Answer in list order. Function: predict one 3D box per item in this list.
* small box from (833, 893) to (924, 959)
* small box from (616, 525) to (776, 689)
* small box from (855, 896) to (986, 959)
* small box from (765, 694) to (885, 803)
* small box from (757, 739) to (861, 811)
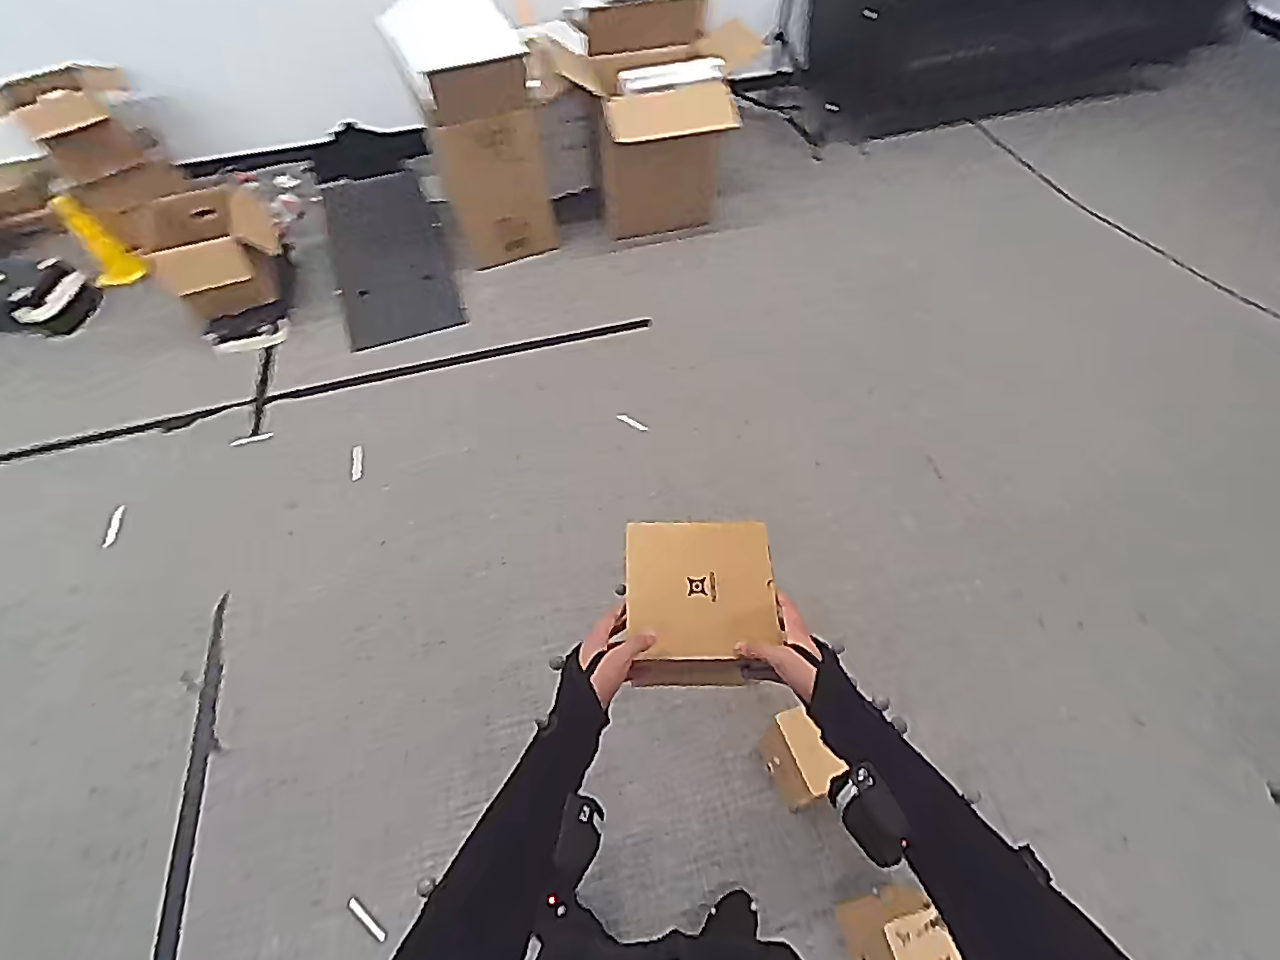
[{"bbox_3d":[0.535,0.999,1.142,0.168,0.176,0.179,-12,58,-6],"label":"small box"},{"bbox_3d":[0.059,0.168,0.693,0.179,0.176,0.168,-1,60,-2],"label":"small box"},{"bbox_3d":[0.532,0.908,1.005,0.168,0.176,0.179,-11,58,-6],"label":"small box"},{"bbox_3d":[0.403,0.604,1.212,0.179,0.176,0.168,-17,57,-9],"label":"small box"},{"bbox_3d":[0.414,0.700,1.344,0.179,0.176,0.168,-18,57,-10],"label":"small box"}]
